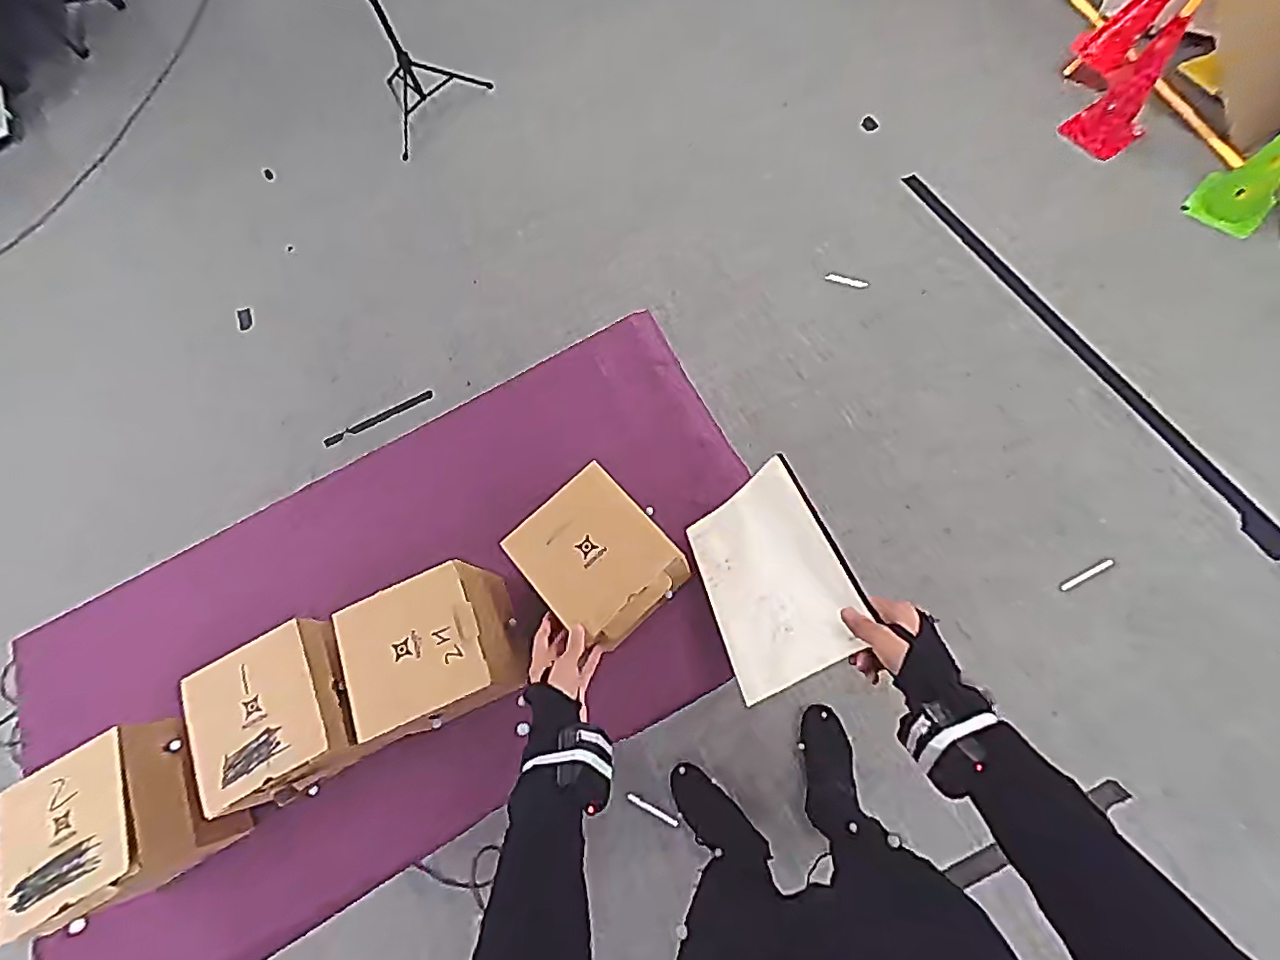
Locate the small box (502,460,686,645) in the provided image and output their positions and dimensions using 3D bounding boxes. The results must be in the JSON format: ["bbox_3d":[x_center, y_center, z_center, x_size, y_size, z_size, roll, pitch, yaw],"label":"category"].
[{"bbox_3d":[-0.051,0.107,0.746,0.168,0.176,0.179,-41,70,-7],"label":"small box"}]
